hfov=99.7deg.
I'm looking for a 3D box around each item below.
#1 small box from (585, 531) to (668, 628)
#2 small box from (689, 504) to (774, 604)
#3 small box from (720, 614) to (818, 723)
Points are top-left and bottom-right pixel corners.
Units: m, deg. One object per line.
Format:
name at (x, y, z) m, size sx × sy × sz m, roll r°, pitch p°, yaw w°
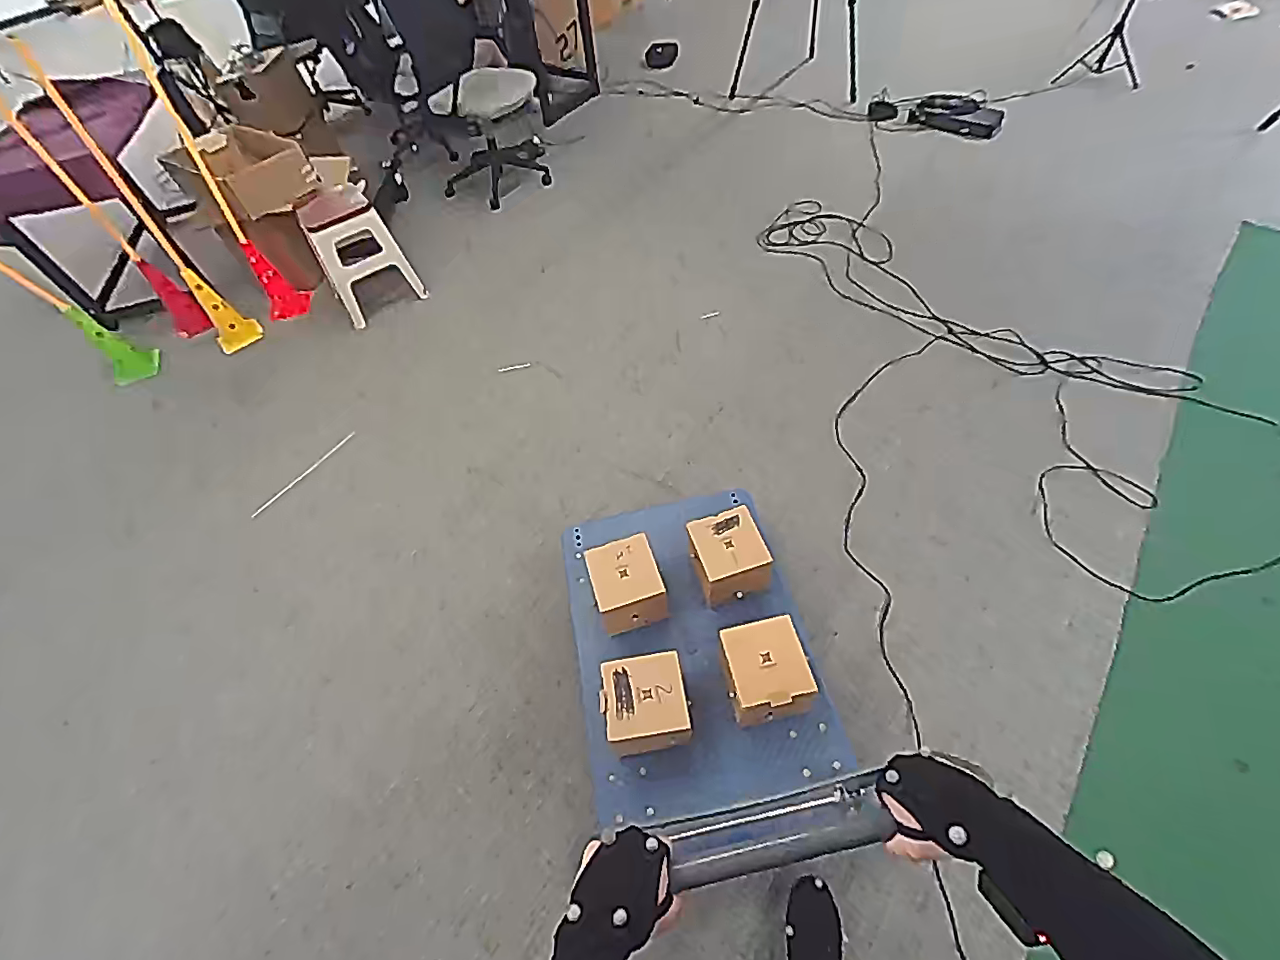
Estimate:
small box at (-0.031, 0.264, 1.390) m, size 0.168 × 0.176 × 0.179 m, roll -16°, pitch 55°, yaw -6°
small box at (0.231, 0.196, 1.408) m, size 0.168 × 0.176 × 0.179 m, roll -17°, pitch 55°, yaw -5°
small box at (0.284, 0.432, 1.235) m, size 0.168 × 0.176 × 0.179 m, roll -12°, pitch 55°, yaw -2°
